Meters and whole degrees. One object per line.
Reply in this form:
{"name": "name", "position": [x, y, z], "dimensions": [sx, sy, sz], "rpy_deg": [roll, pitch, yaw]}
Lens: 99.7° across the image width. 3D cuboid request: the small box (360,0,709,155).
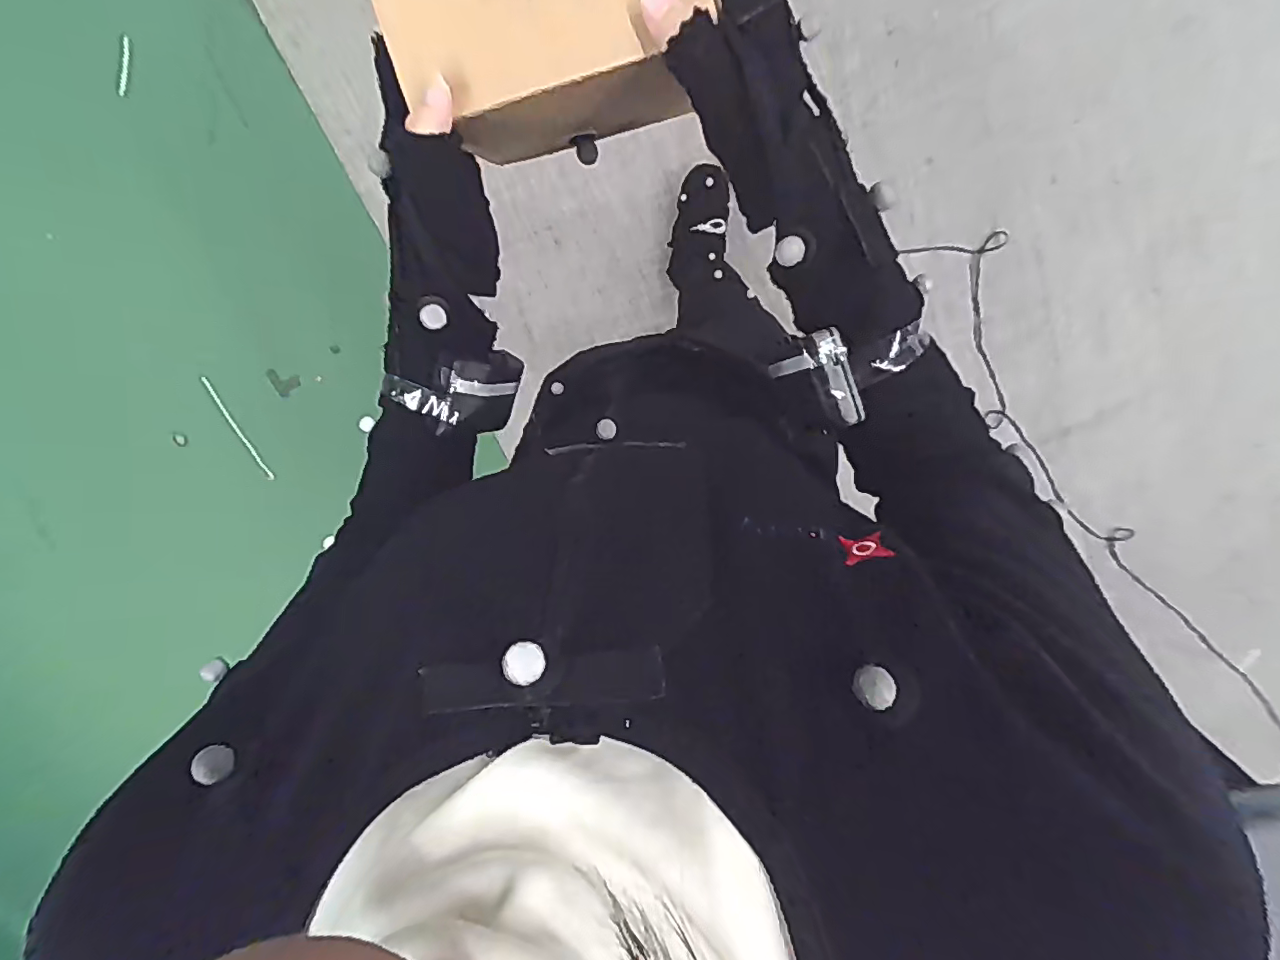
{"name": "small box", "position": [-0.059, -0.312, 0.309], "dimensions": [0.168, 0.176, 0.179], "rpy_deg": [-10, 114, 9]}
